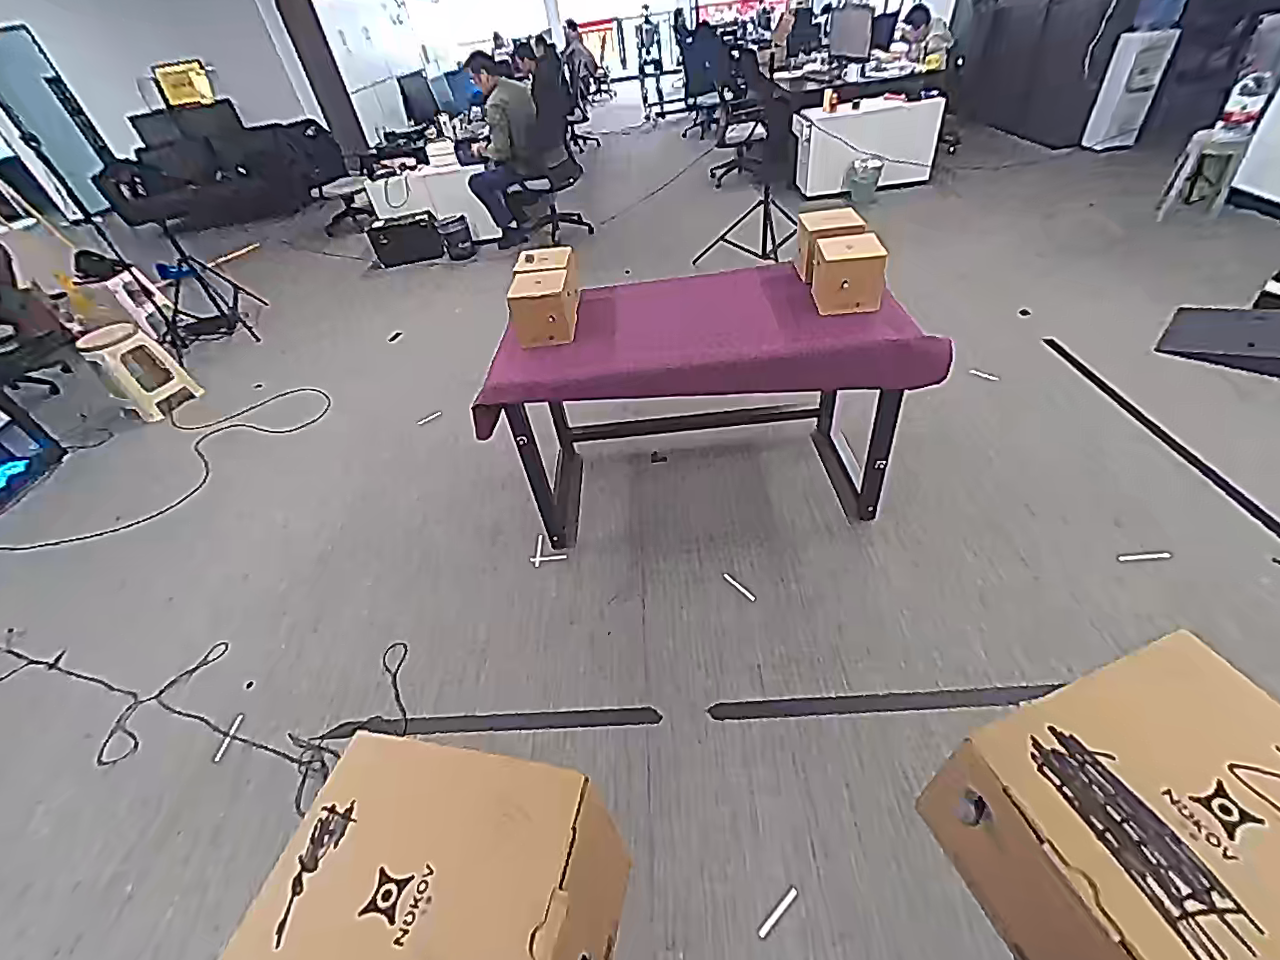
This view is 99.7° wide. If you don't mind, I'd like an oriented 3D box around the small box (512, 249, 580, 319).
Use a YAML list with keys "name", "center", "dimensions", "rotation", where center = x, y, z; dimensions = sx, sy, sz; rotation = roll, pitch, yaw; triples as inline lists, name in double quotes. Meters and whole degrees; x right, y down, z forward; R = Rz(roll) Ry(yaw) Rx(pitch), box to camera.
- name: "small box"
  center: [-0.310, -0.655, 1.816]
  dimensions: [0.179, 0.176, 0.168]
  rotation: [-3, 44, 5]

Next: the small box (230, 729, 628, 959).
- name: "small box"
  center: [-0.114, 0.292, 0.348]
  dimensions: [0.179, 0.176, 0.168]
  rotation: [3, 41, 15]

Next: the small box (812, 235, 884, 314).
- name: "small box"
  center: [0.608, -0.603, 1.600]
  dimensions: [0.168, 0.176, 0.179]
  rotation: [-3, 41, 9]

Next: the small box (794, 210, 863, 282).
- name: "small box"
  center: [0.605, -0.758, 1.761]
  dimensions: [0.179, 0.176, 0.168]
  rotation: [-4, 43, 5]
